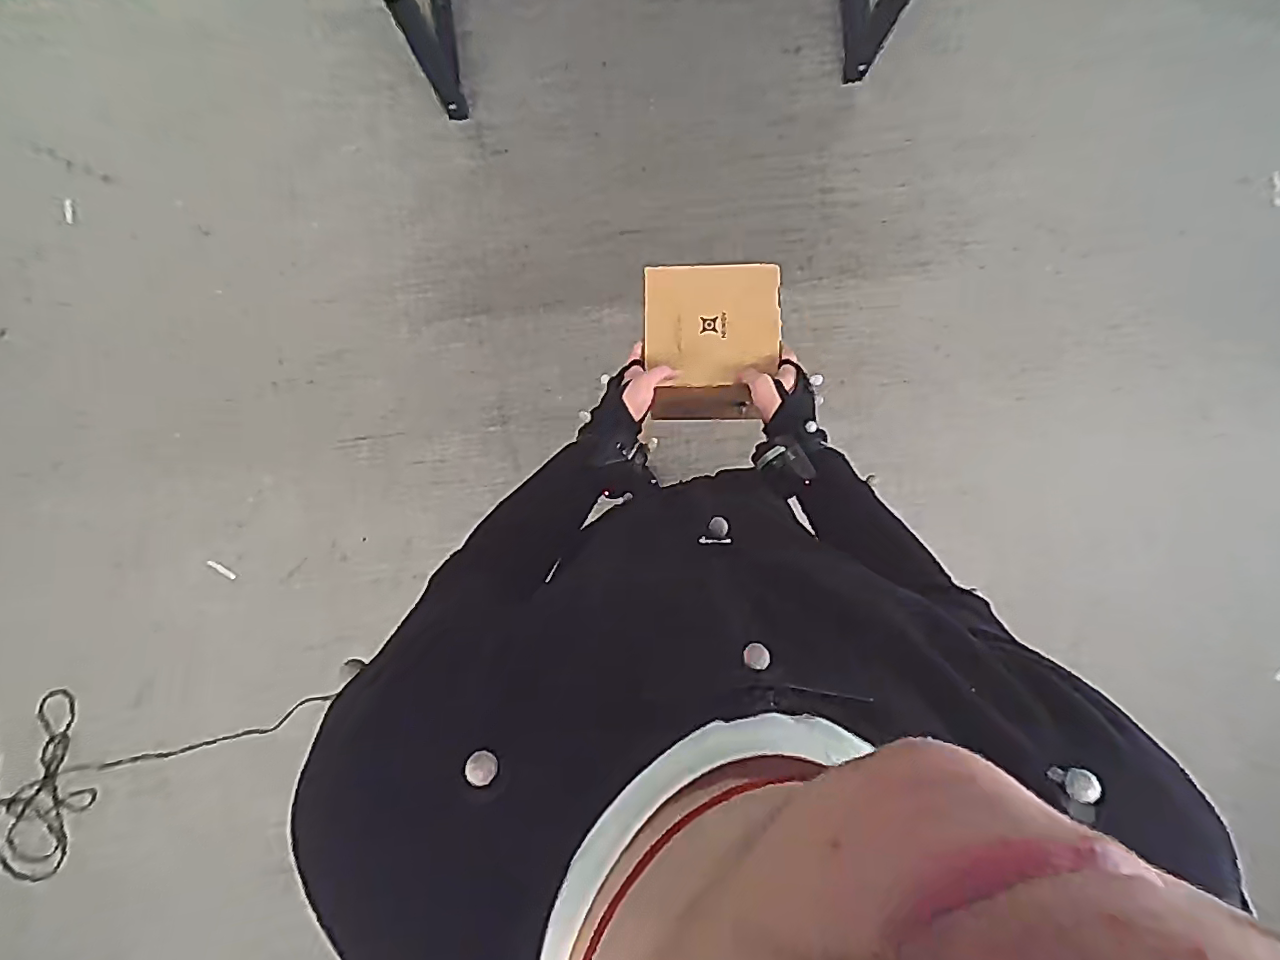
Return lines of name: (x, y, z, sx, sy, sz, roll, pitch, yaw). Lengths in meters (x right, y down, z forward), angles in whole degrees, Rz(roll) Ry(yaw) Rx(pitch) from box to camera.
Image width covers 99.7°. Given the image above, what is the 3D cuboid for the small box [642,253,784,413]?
small box: (0.097, -0.195, 0.757, 0.179, 0.176, 0.168, 1, 81, 4)
